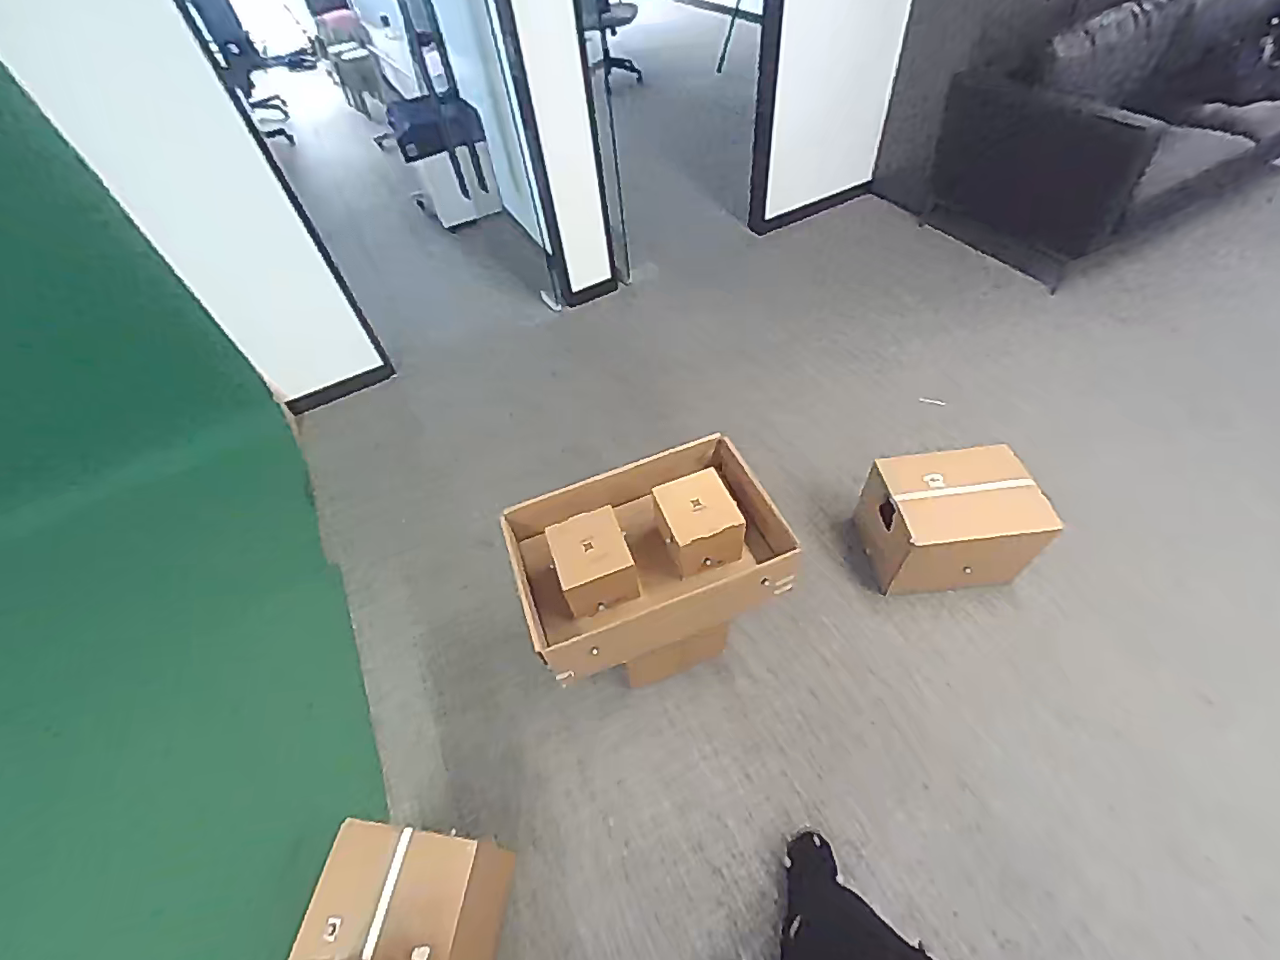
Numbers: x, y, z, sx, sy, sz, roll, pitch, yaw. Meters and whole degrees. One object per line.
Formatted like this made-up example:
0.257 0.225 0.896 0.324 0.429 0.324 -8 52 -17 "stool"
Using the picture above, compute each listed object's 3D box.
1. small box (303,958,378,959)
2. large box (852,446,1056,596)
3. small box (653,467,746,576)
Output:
-0.477 0.895 0.875 0.179 0.176 0.168 3 52 6 "small box"
0.925 0.132 1.659 0.408 0.320 0.320 -7 51 1 "large box"
0.138 0.103 1.314 0.168 0.176 0.179 -19 54 -9 "small box"
